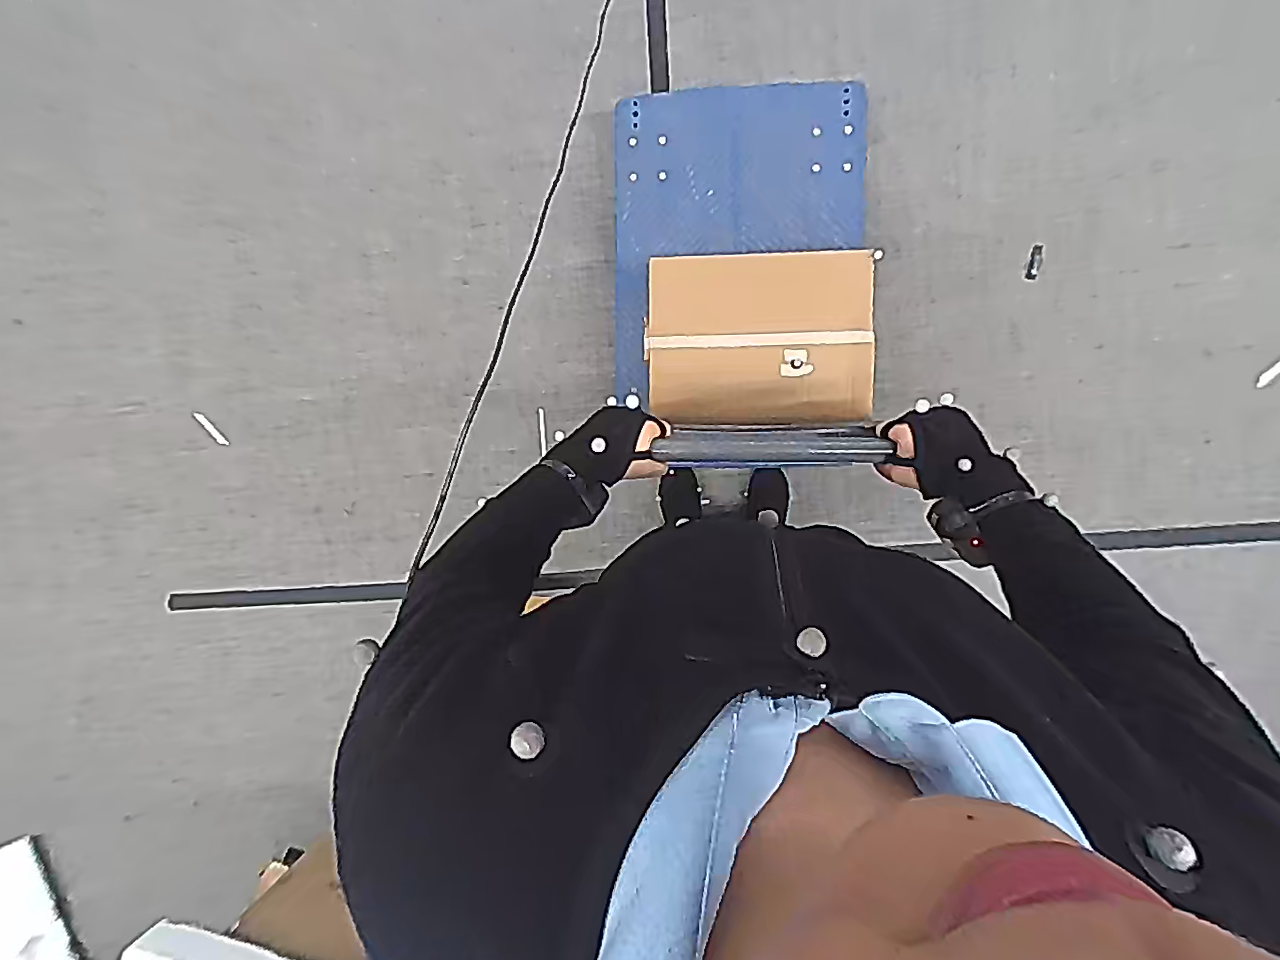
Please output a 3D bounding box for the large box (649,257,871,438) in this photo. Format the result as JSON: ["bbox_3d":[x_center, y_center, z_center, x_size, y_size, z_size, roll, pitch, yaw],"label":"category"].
[{"bbox_3d":[0.229,-0.252,1.139,0.408,0.320,0.320,0,93,5],"label":"large box"}]
